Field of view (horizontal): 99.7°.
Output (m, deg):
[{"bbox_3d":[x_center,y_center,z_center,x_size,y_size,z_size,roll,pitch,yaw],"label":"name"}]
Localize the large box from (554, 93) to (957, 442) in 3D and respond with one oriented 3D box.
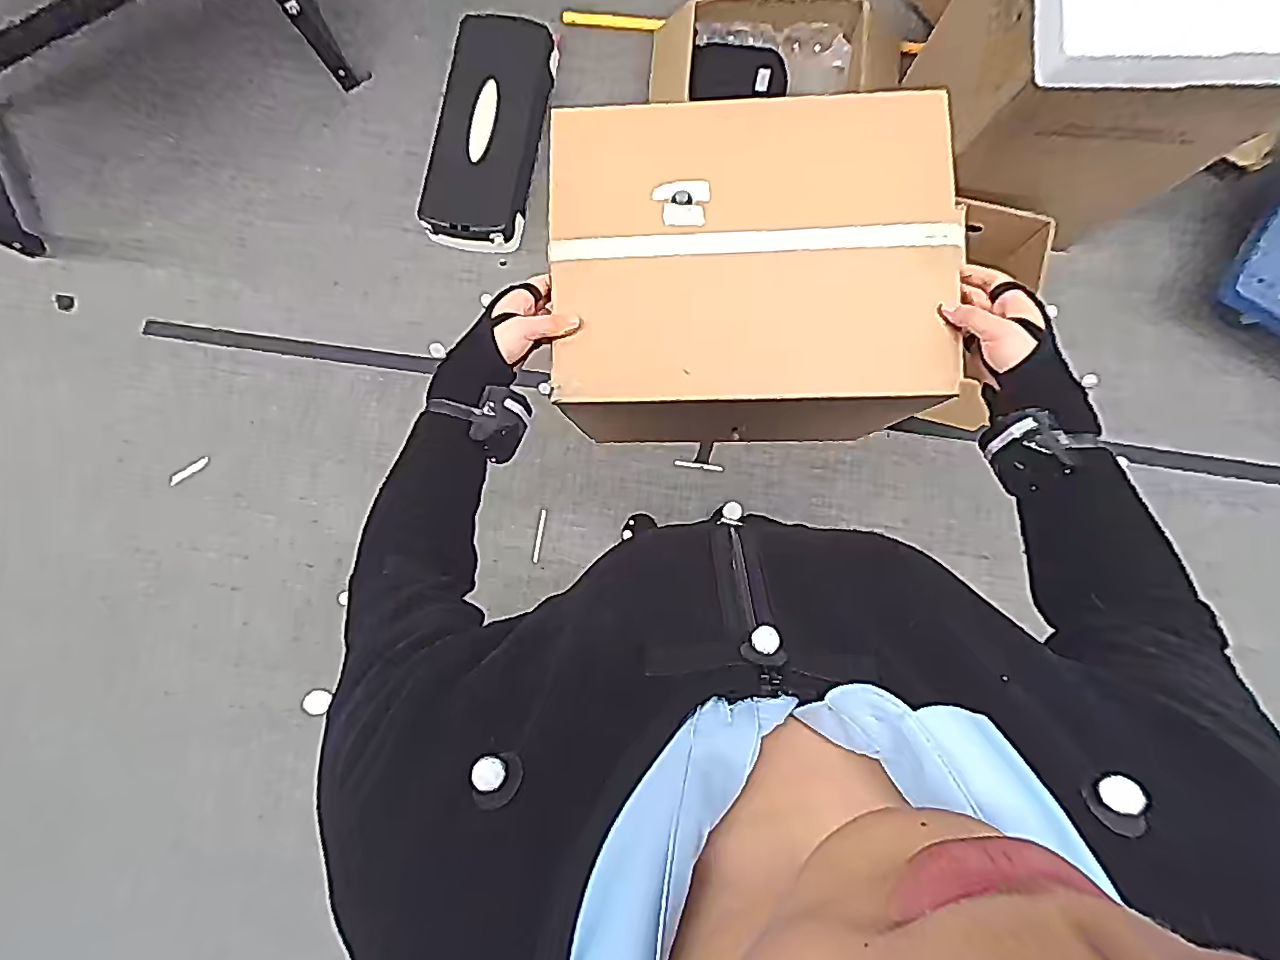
[{"bbox_3d":[0.123,-0.226,0.703,0.408,0.320,0.320,-1,85,5],"label":"large box"}]
